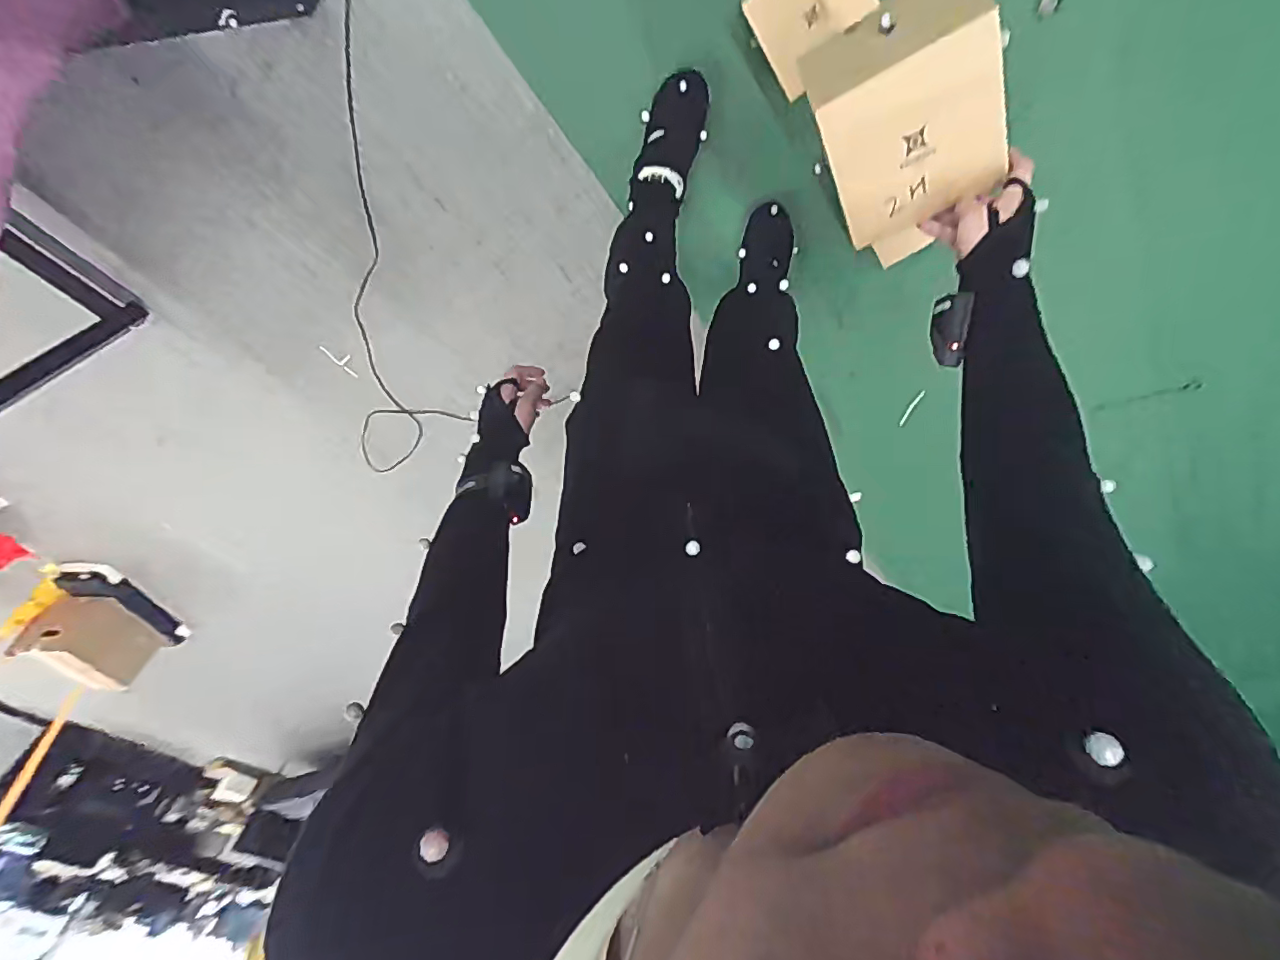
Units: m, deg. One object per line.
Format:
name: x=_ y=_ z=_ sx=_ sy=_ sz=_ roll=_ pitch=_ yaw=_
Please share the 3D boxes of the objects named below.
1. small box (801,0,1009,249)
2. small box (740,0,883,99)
small box: x=0.292 y=-0.410 z=0.611 sx=0.168 sy=0.176 sz=0.179 roll=-17 pitch=139 yaw=26
small box: x=0.286 y=-0.798 z=0.920 sx=0.179 sy=0.176 sz=0.168 roll=-27 pitch=123 yaw=29
